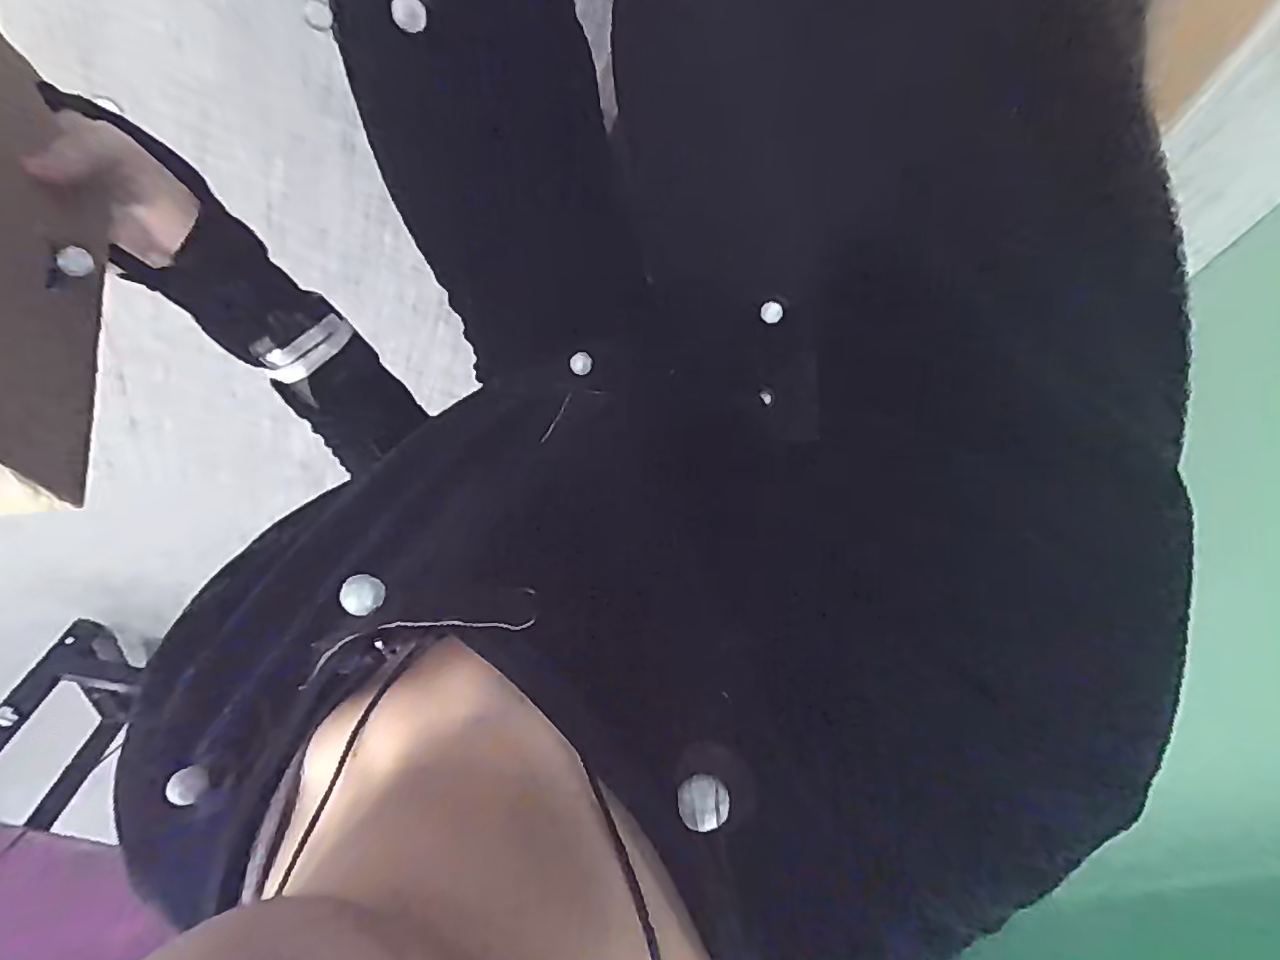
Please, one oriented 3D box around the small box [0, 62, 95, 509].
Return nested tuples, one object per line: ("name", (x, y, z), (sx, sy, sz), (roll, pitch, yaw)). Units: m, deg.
("small box", (-0.304, -0.093, 0.149), (0.168, 0.179, 0.176), (-5, 159, -24))
